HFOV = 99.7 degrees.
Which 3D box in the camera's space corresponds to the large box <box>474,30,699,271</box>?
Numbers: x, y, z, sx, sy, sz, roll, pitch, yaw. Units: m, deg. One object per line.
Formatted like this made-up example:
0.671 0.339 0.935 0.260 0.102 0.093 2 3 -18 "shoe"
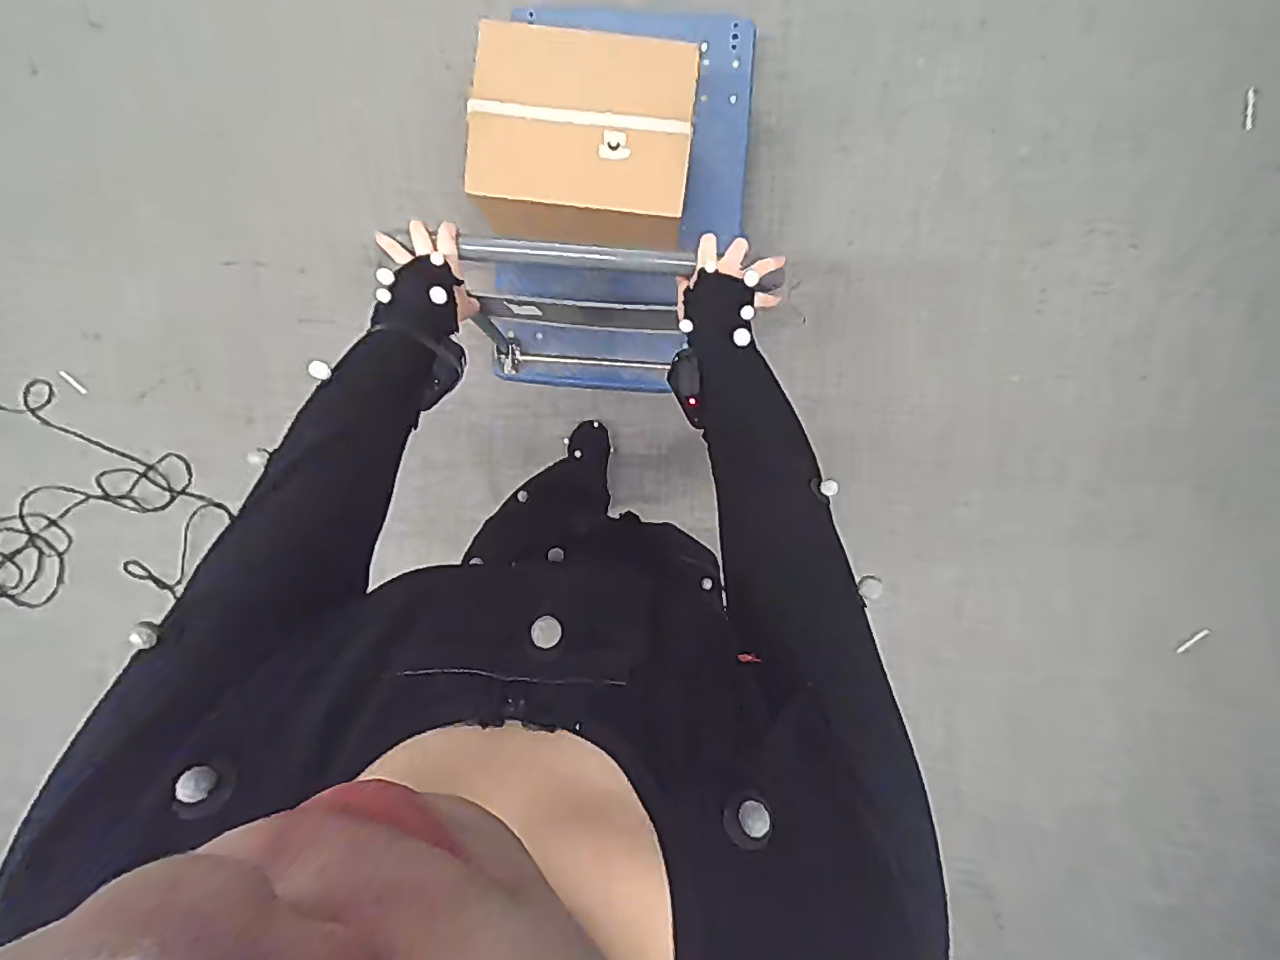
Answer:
-0.103 -0.669 1.154 0.408 0.320 0.320 6 92 -1 "large box"
